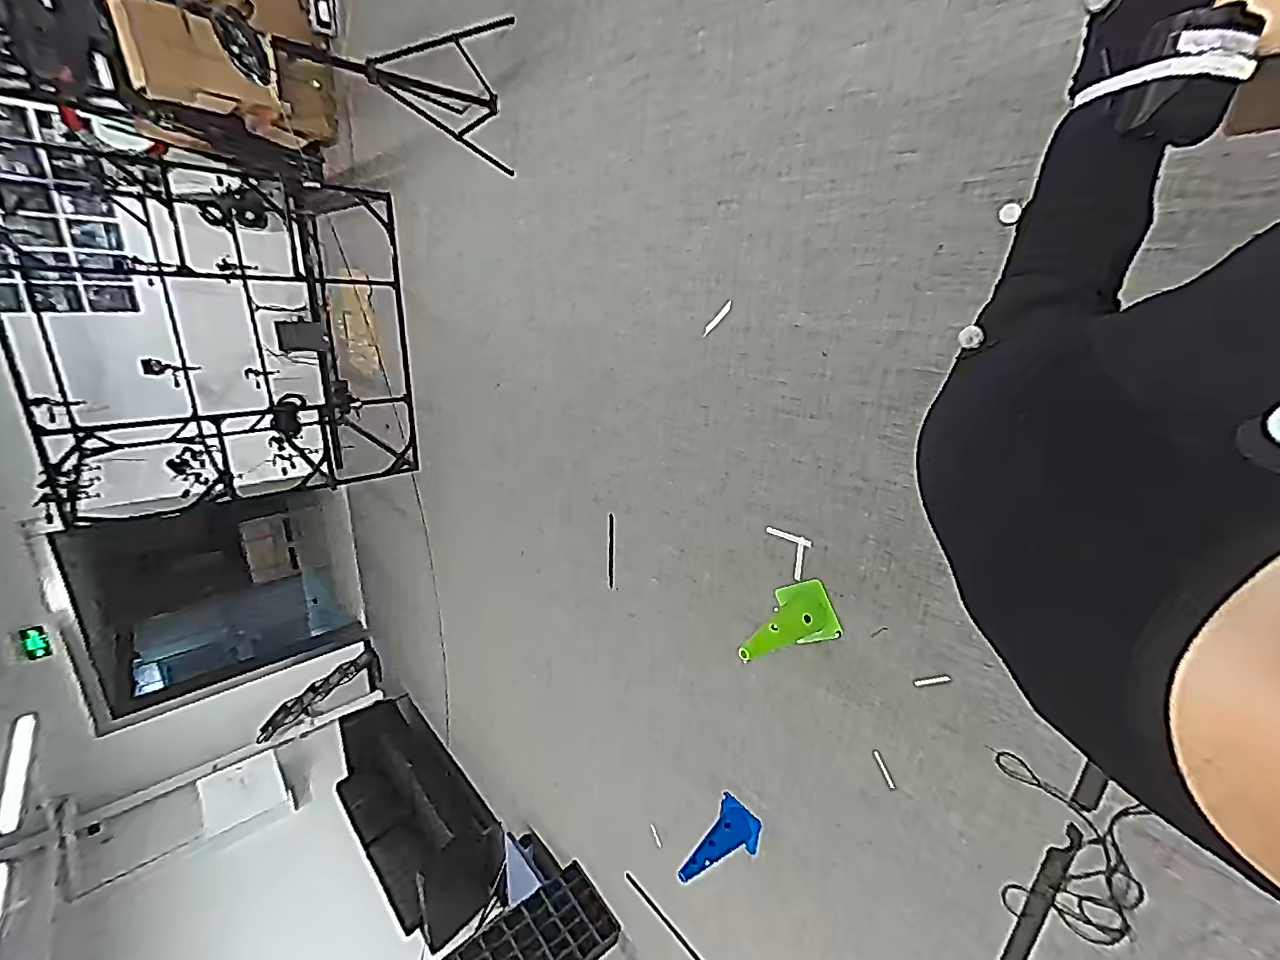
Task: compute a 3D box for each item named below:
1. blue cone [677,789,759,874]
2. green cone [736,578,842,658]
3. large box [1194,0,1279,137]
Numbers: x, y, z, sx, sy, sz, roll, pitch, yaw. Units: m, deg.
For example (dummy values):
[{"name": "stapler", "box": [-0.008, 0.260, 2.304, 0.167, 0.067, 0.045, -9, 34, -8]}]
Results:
[{"name": "blue cone", "box": [0.303, 1.481, 2.210, 0.192, 0.380, 0.193, 27, 121, 43]}, {"name": "green cone", "box": [0.438, 0.471, 1.717, 0.202, 0.368, 0.200, -33, 75, 50]}, {"name": "large box", "box": [0.606, -0.406, 0.266, 0.408, 0.320, 0.320, 21, 120, 44]}]
